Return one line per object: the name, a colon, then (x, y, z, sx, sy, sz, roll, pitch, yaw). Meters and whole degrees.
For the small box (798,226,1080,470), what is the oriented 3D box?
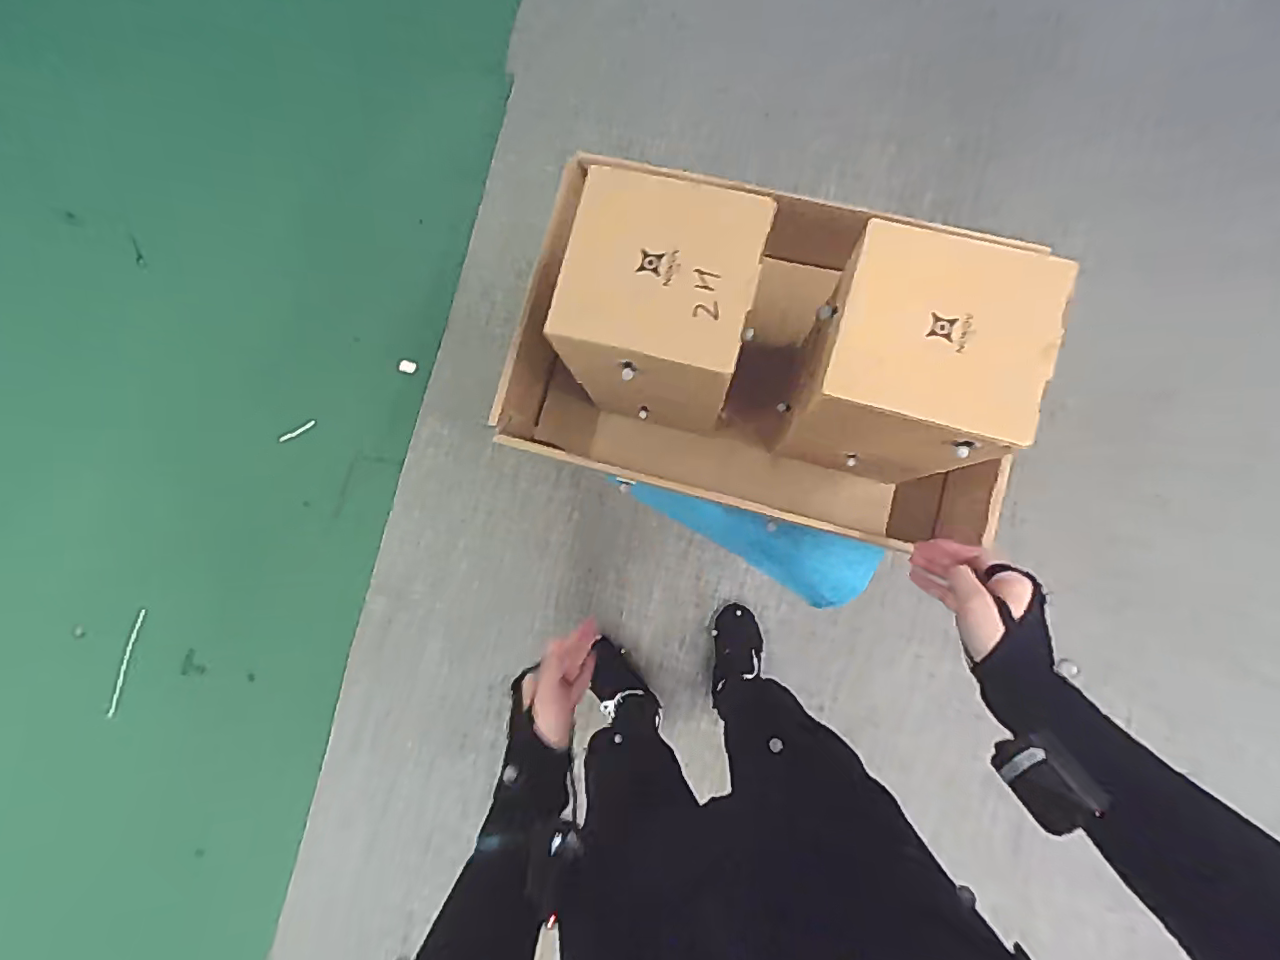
small box: (0.271, -0.115, 0.536, 0.179, 0.176, 0.168, 16, 86, 7)

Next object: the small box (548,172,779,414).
small box: (0.027, -0.177, 0.562, 0.179, 0.176, 0.168, 15, 86, 6)
